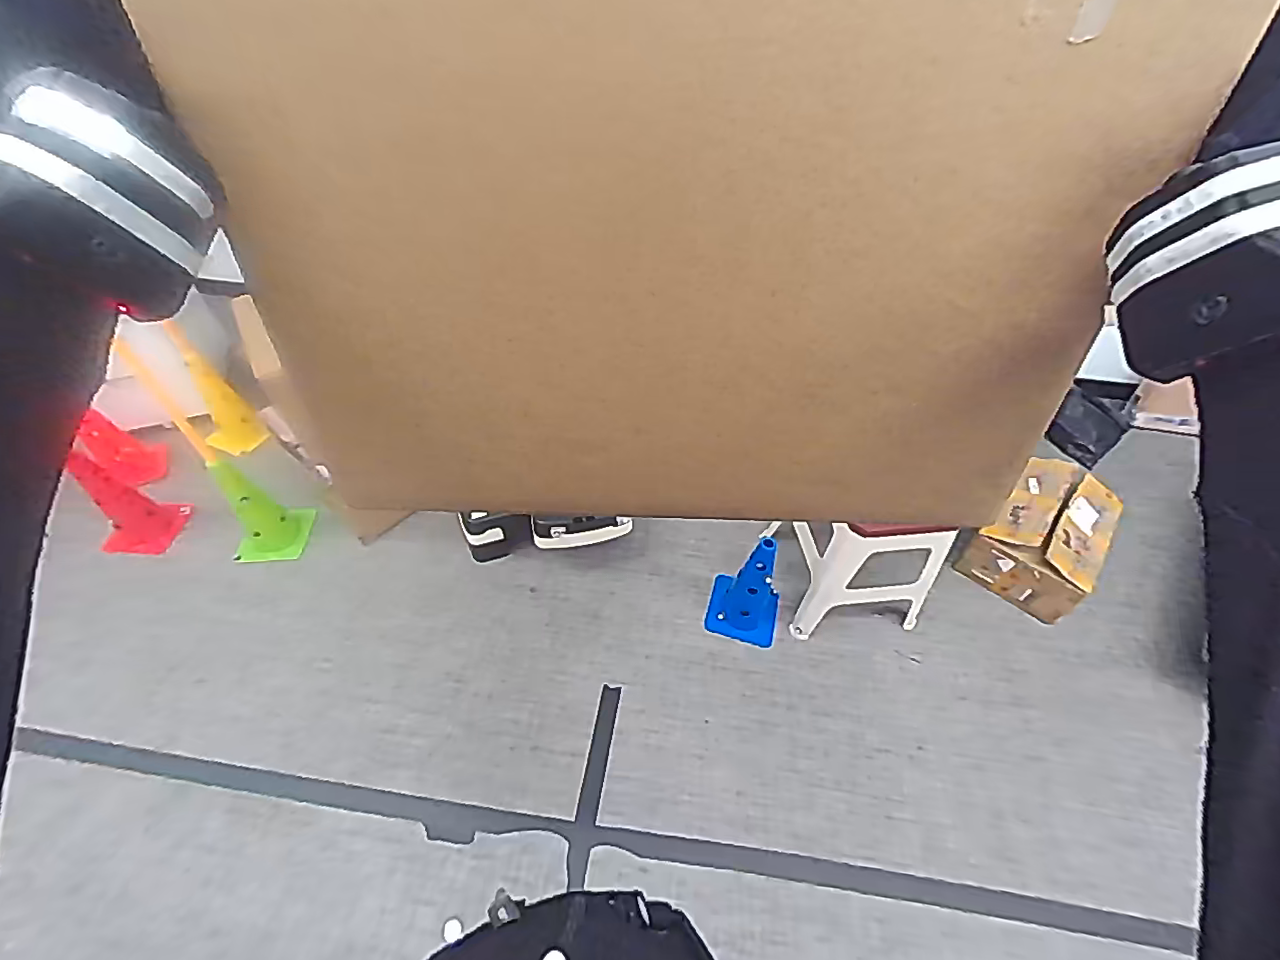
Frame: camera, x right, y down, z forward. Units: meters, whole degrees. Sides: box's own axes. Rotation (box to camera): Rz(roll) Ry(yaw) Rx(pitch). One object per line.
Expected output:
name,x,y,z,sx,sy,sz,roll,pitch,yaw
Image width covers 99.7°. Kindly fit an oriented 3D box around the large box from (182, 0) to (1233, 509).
large box,0.022,-0.192,0.374,0.408,0.320,0.320,2,38,0
